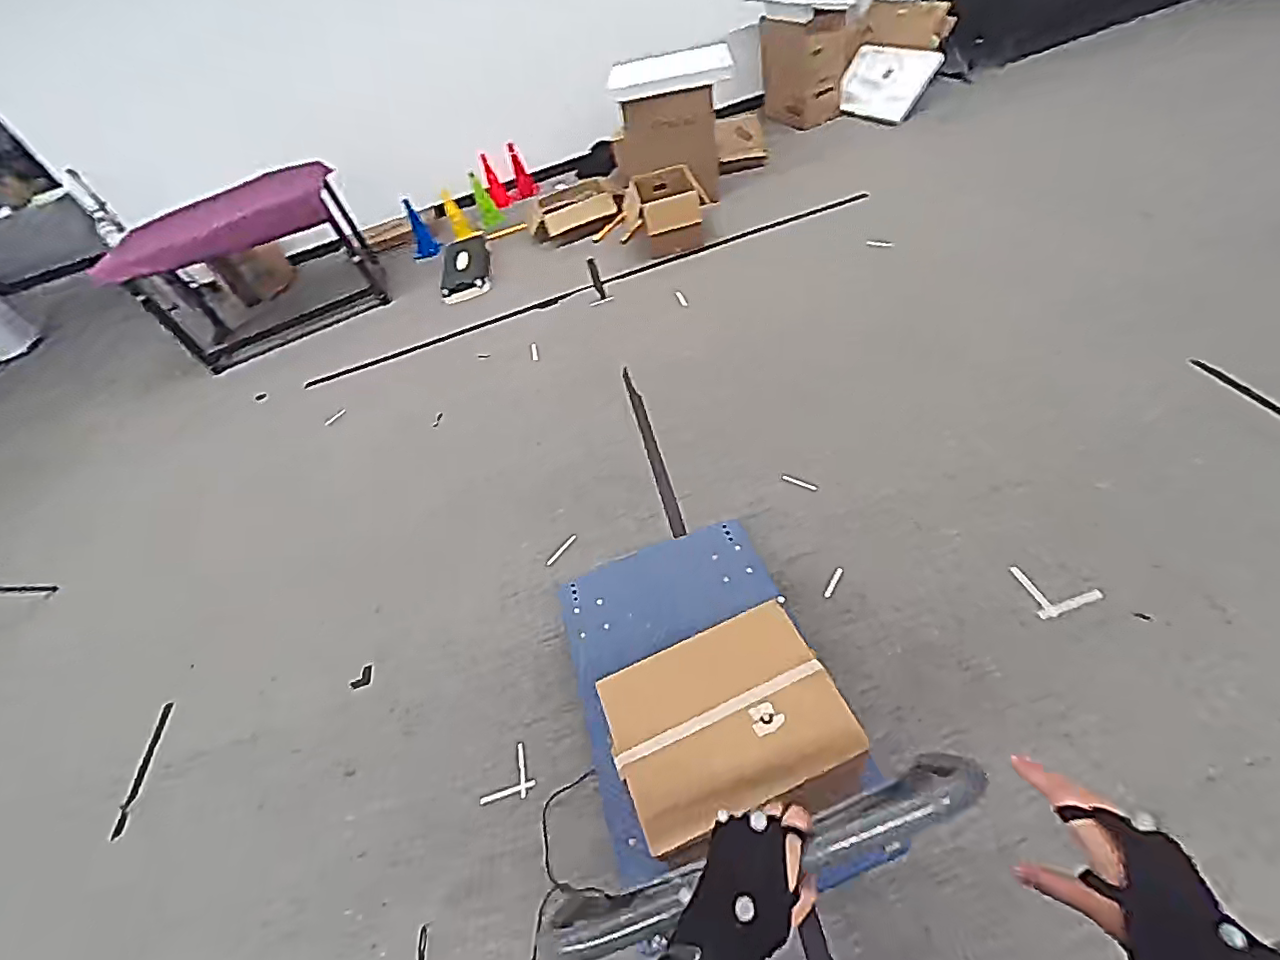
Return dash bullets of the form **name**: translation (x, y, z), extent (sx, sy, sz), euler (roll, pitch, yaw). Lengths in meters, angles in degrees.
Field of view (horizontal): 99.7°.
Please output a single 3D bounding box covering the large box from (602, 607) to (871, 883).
- **large box**: translation (0.185, 0.533, 1.089), extent (0.408, 0.320, 0.320), euler (-23, 48, -6)
